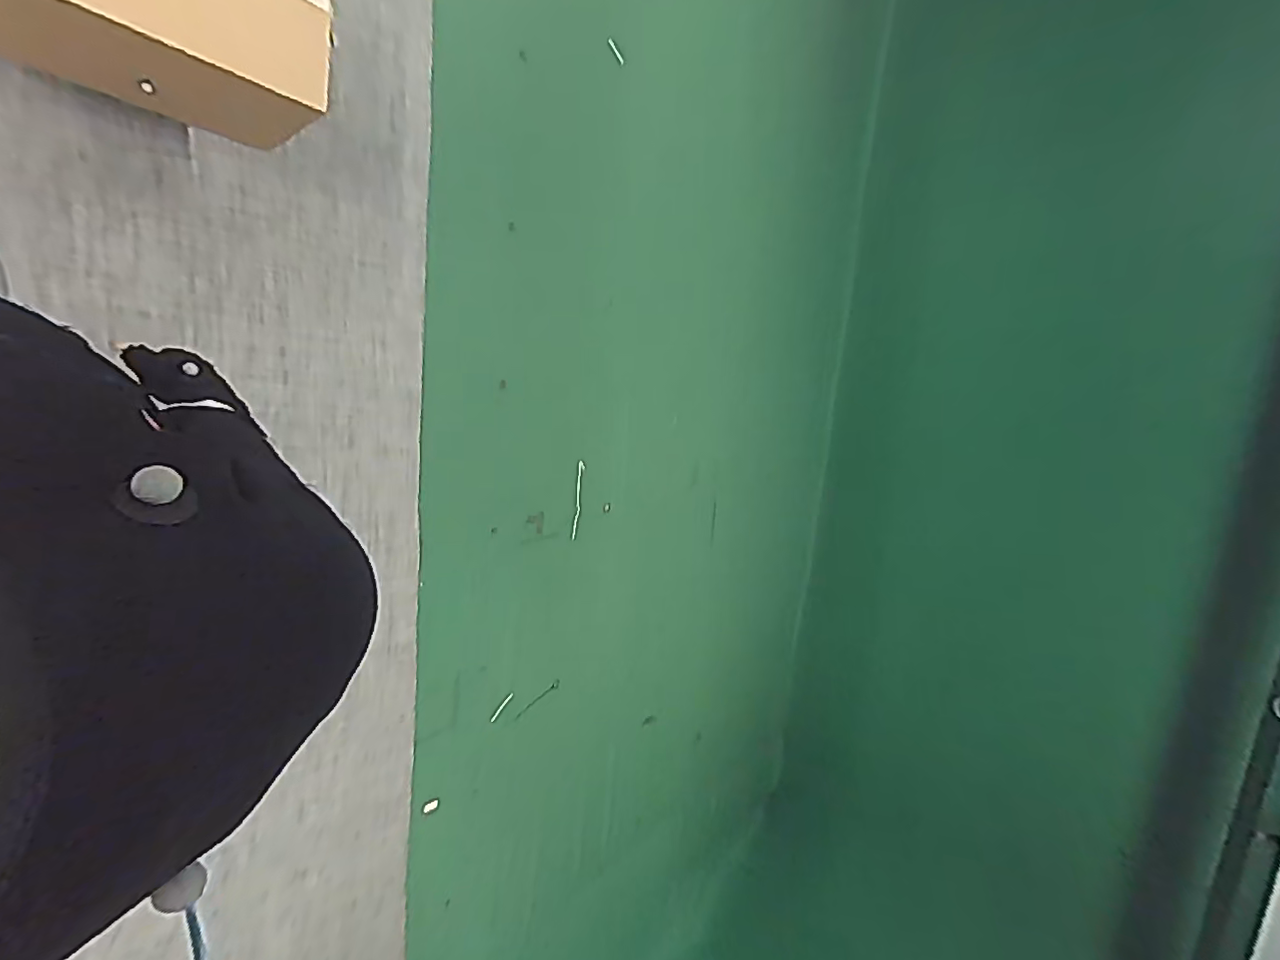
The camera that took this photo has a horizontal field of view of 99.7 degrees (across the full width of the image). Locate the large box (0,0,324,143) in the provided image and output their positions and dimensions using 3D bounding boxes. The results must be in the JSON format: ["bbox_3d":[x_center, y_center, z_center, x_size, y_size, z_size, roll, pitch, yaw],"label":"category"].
[{"bbox_3d":[-0.751,-0.781,0.820,0.408,0.320,0.320,-3,102,-50],"label":"large box"}]
